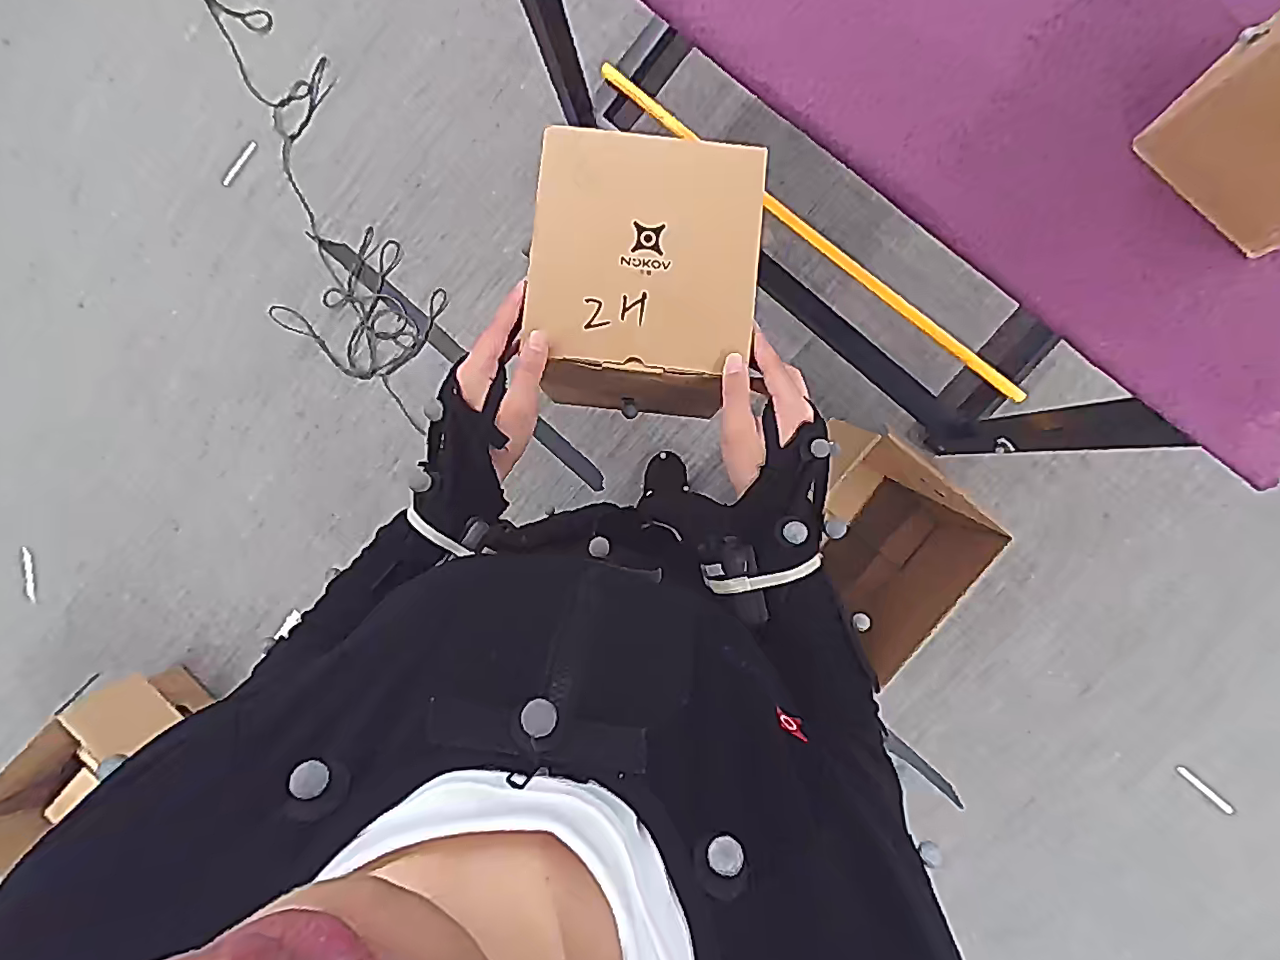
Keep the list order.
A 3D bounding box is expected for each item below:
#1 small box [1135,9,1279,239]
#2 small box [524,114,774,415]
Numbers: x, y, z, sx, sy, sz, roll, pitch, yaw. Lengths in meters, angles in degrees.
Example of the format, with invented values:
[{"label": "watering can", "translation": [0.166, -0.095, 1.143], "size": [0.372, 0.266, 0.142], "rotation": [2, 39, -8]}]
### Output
[{"label": "small box", "translation": [0.632, -0.350, 0.488], "size": [0.168, 0.176, 0.179], "rotation": [-44, 87, 4]}, {"label": "small box", "translation": [0.006, -0.165, 0.466], "size": [0.168, 0.176, 0.179], "rotation": [6, 86, -1]}]
